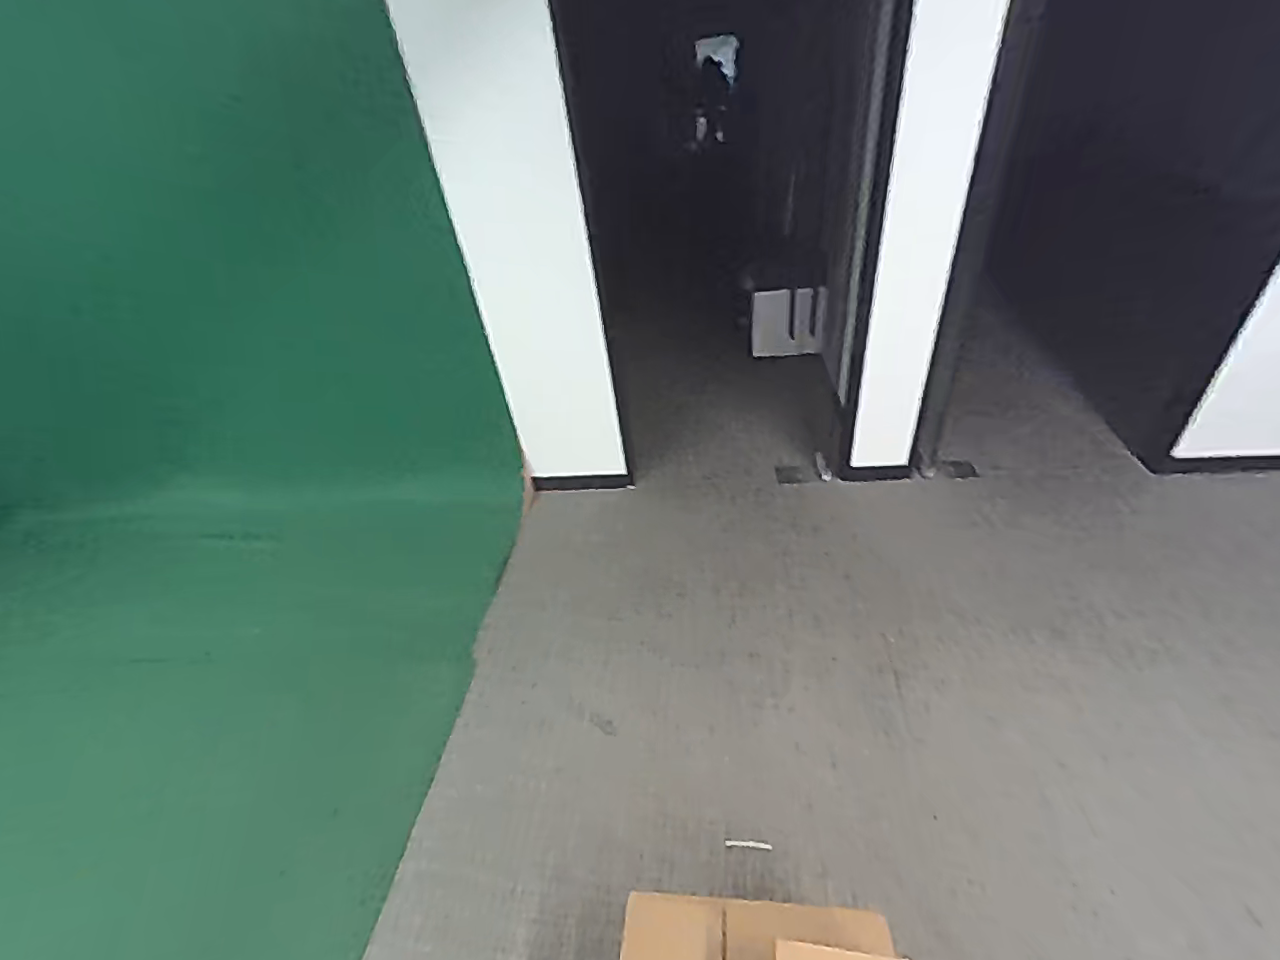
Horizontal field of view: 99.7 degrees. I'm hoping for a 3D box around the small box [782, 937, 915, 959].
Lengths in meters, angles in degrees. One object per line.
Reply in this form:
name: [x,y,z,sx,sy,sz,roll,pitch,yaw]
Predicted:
small box: [0.260,0.701,0.654,0.168,0.176,0.179,-1,36,13]
